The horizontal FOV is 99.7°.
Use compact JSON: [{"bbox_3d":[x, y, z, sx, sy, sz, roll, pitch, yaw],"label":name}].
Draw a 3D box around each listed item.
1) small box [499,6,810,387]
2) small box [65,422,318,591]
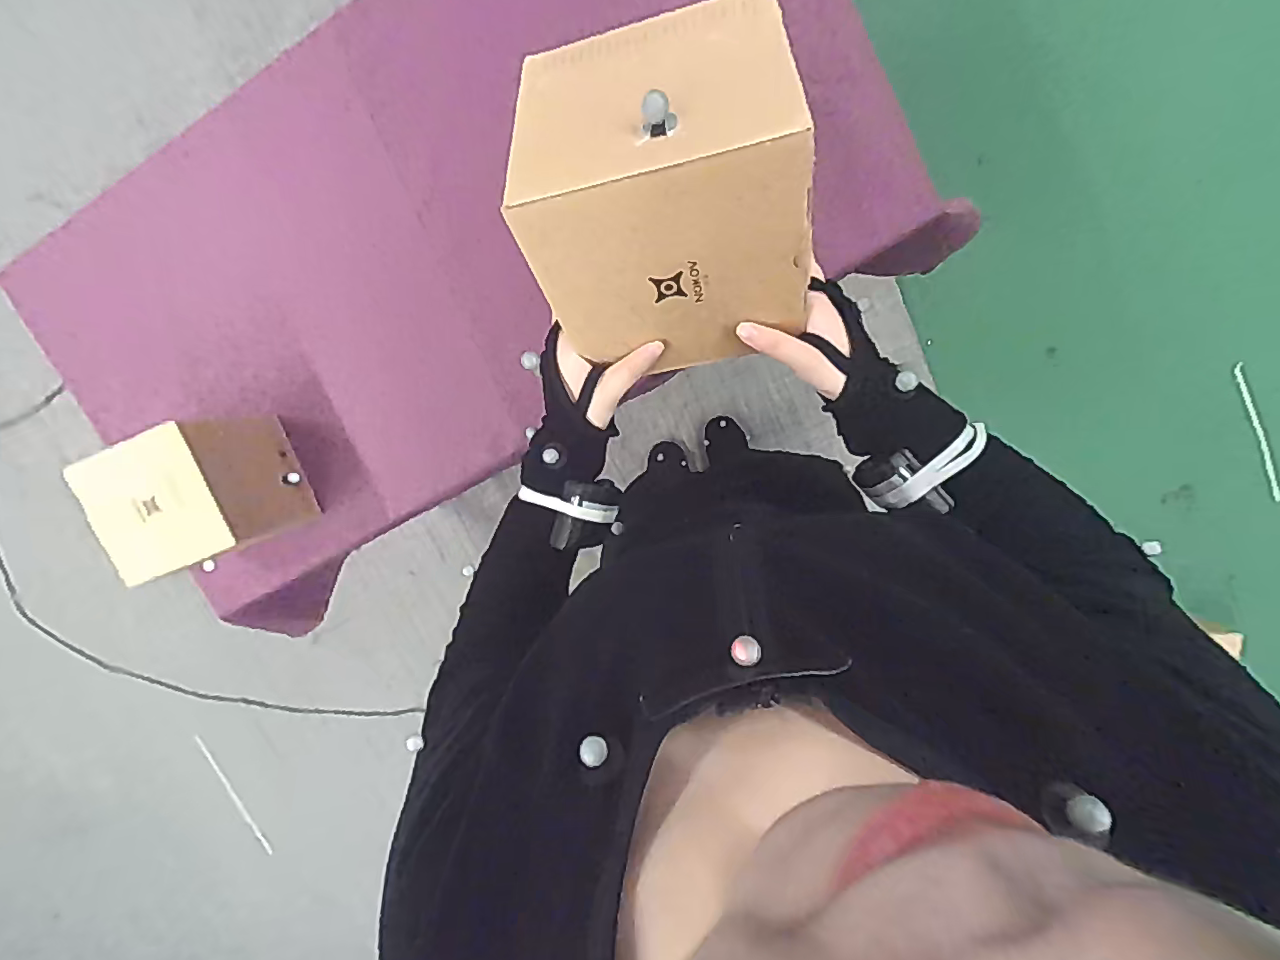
[{"bbox_3d":[0.018,-0.196,0.398,0.179,0.168,0.176,-8,61,11],"label":"small box"},{"bbox_3d":[-0.597,0.027,0.744,0.179,0.176,0.168,-21,97,8],"label":"small box"}]
